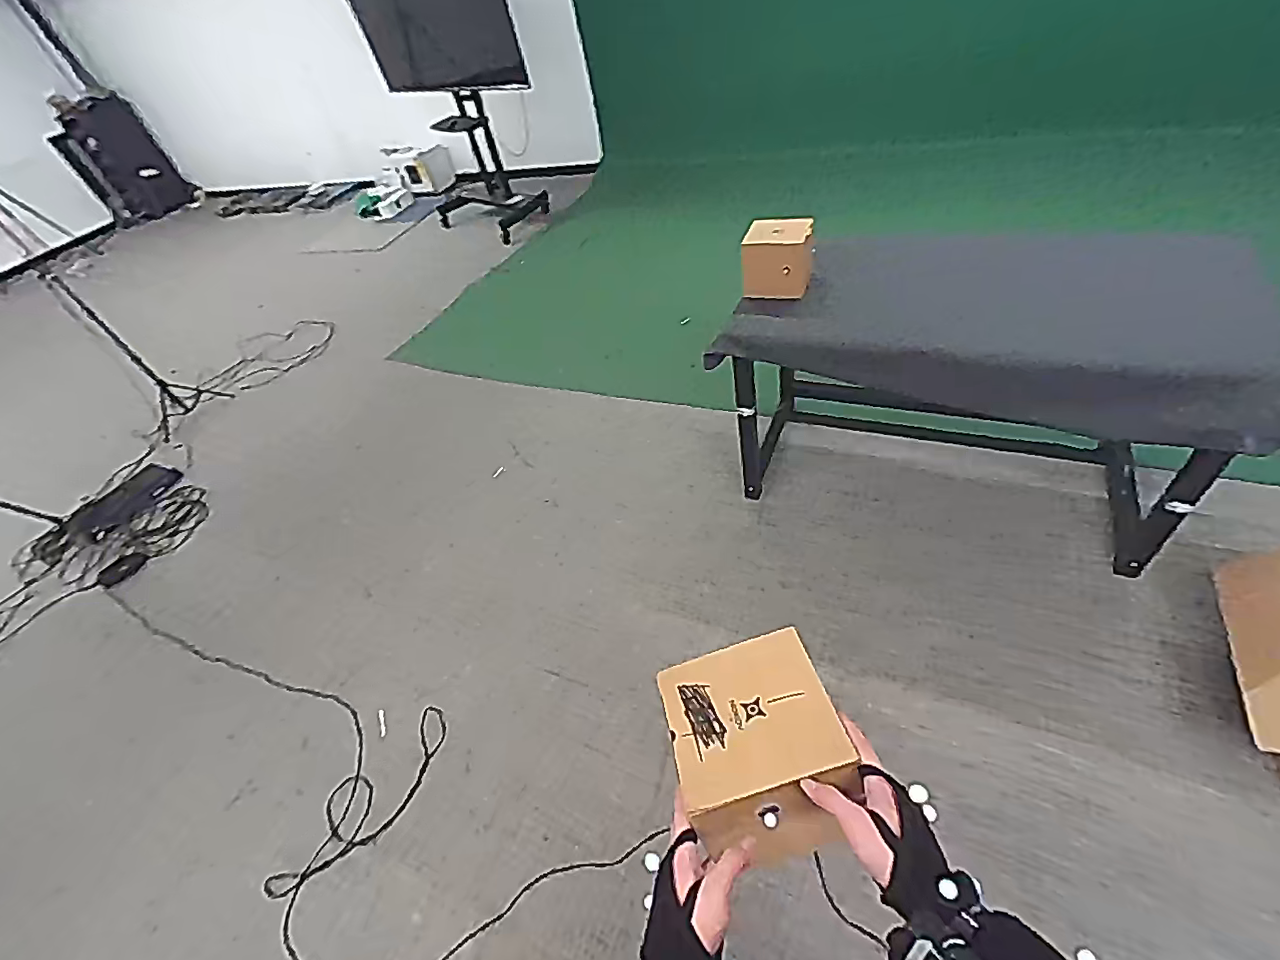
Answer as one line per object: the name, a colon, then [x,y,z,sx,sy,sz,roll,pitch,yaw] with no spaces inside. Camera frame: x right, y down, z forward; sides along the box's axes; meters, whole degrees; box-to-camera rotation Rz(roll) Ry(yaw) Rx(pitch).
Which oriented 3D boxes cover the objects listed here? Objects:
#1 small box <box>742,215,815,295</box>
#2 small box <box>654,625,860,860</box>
small box: [0.411,-0.662,1.600,0.179,0.176,0.168,9,49,23]
small box: [0.130,0.301,0.616,0.179,0.176,0.168,-18,36,6]
